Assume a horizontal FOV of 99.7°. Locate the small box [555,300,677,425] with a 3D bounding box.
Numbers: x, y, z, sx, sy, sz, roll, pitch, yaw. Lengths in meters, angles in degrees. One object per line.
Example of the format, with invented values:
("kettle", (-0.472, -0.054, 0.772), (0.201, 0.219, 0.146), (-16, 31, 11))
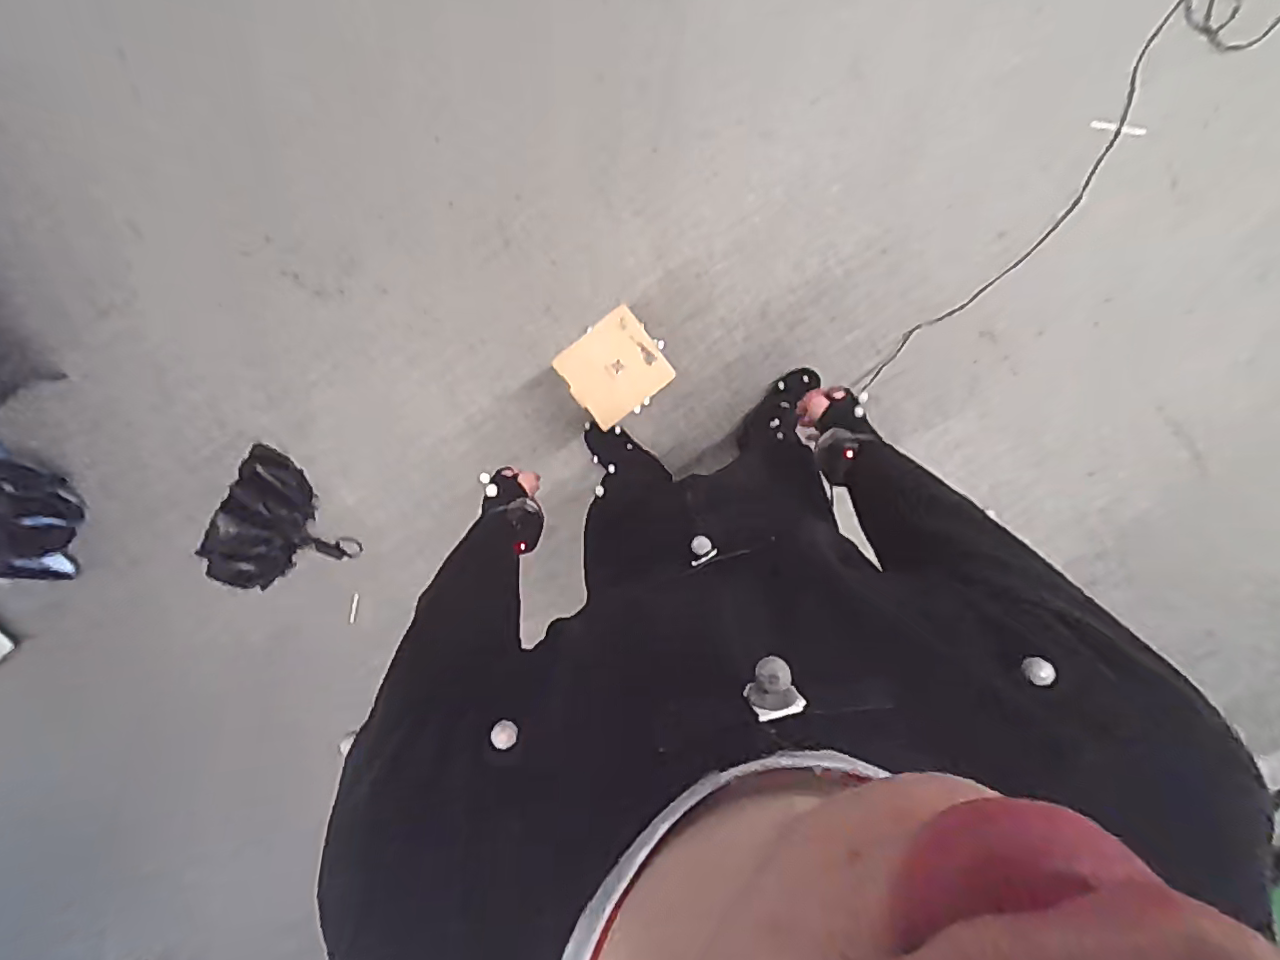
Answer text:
("small box", (-0.040, -0.232, 1.084), (0.179, 0.176, 0.168), (-36, 99, 10))
